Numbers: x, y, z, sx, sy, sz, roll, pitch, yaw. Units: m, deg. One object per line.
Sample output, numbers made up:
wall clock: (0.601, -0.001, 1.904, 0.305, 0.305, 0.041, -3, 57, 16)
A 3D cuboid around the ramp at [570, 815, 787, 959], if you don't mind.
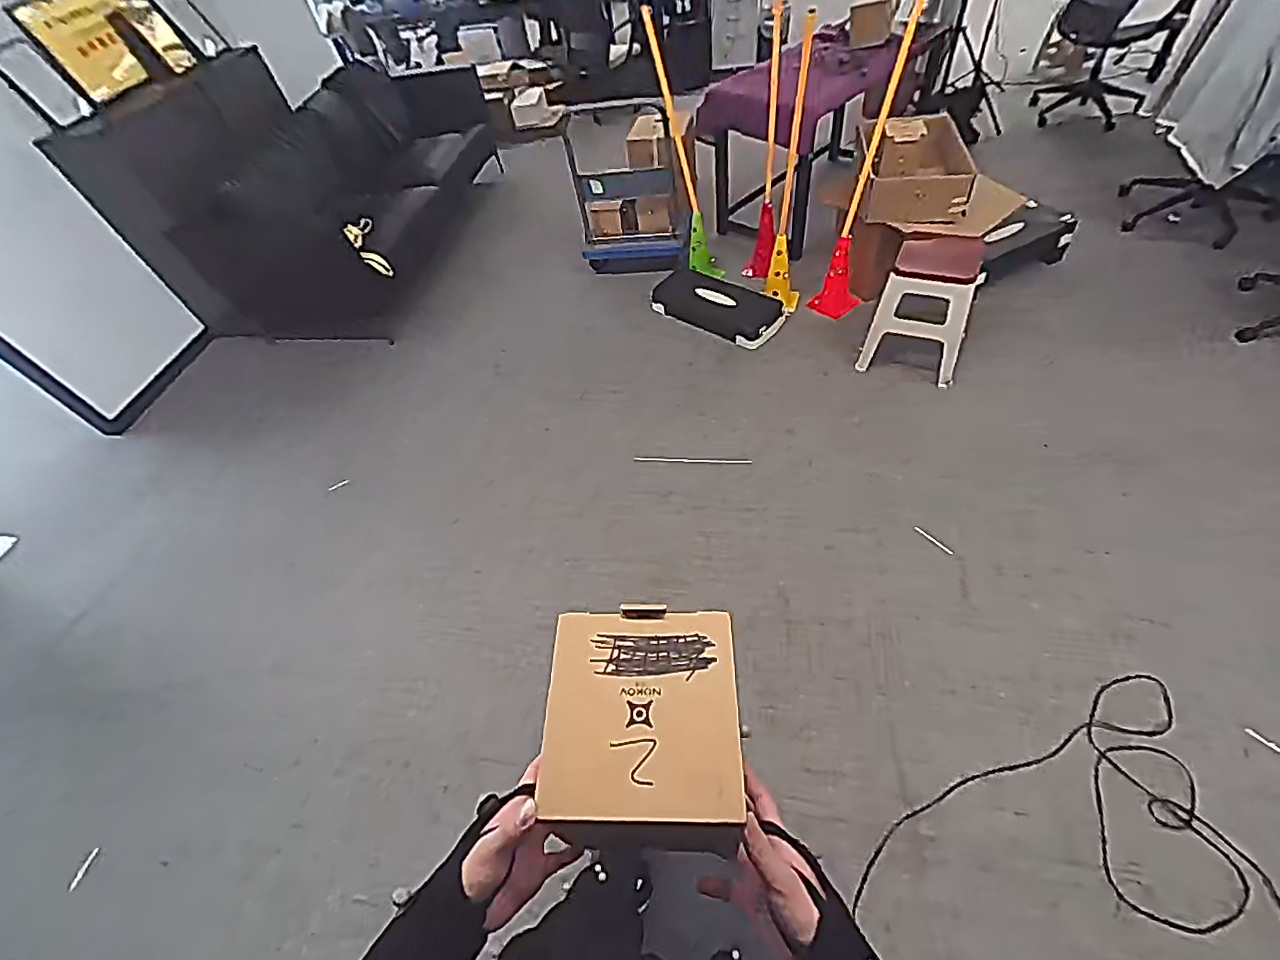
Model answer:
ramp: (0.041, 1.243, 1.054, 0.509, 0.206, 0.991, 0, 51, 12)
